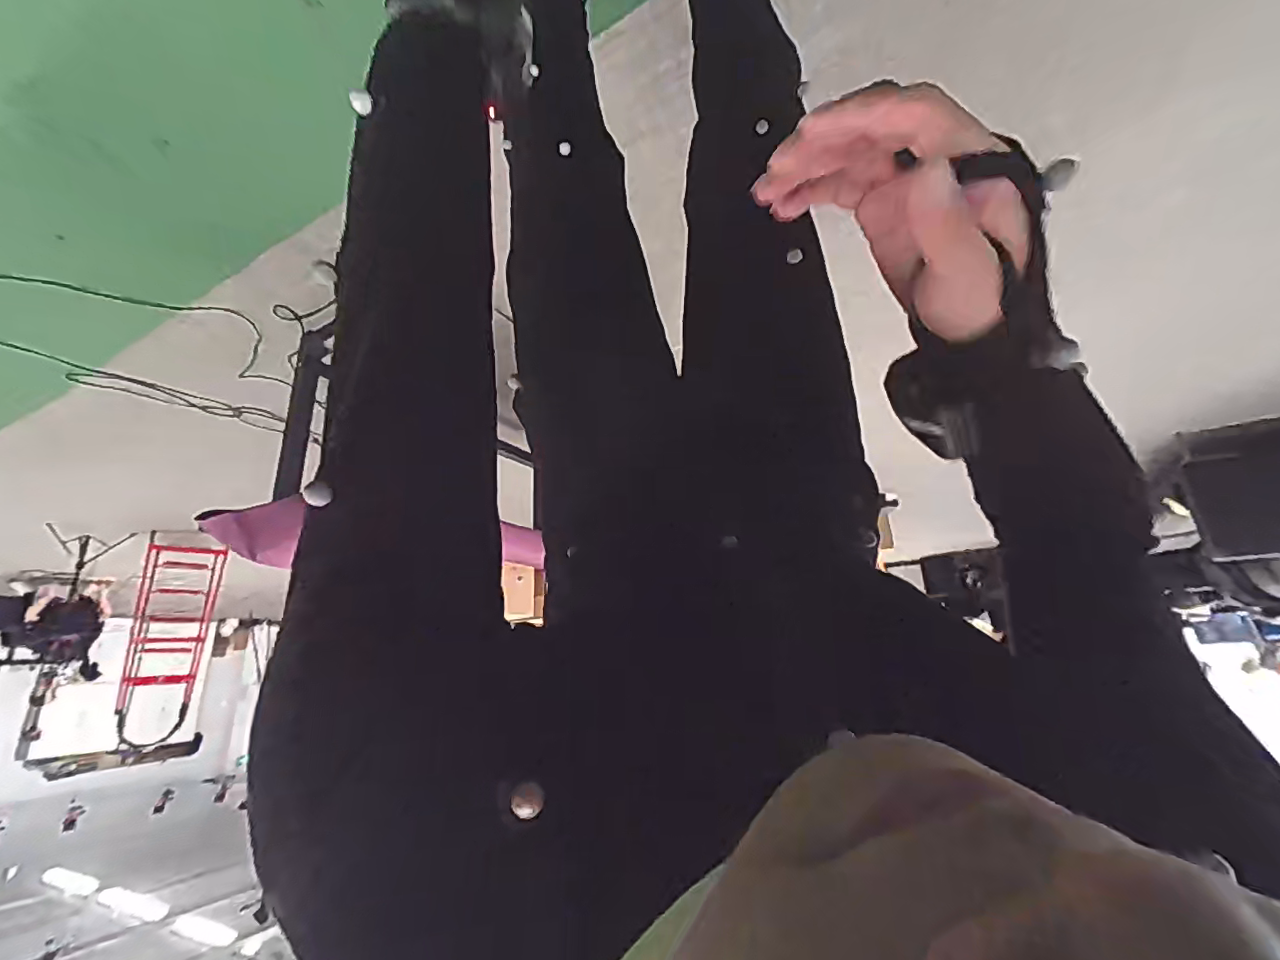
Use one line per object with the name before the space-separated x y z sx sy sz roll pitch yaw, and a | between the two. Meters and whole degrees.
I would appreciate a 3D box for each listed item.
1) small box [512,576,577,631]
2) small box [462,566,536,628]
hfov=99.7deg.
small box | -0.340 0.448 1.952 0.179 0.176 0.168 -13 158 26
small box | -0.452 0.383 1.755 0.179 0.176 0.168 -13 158 25
